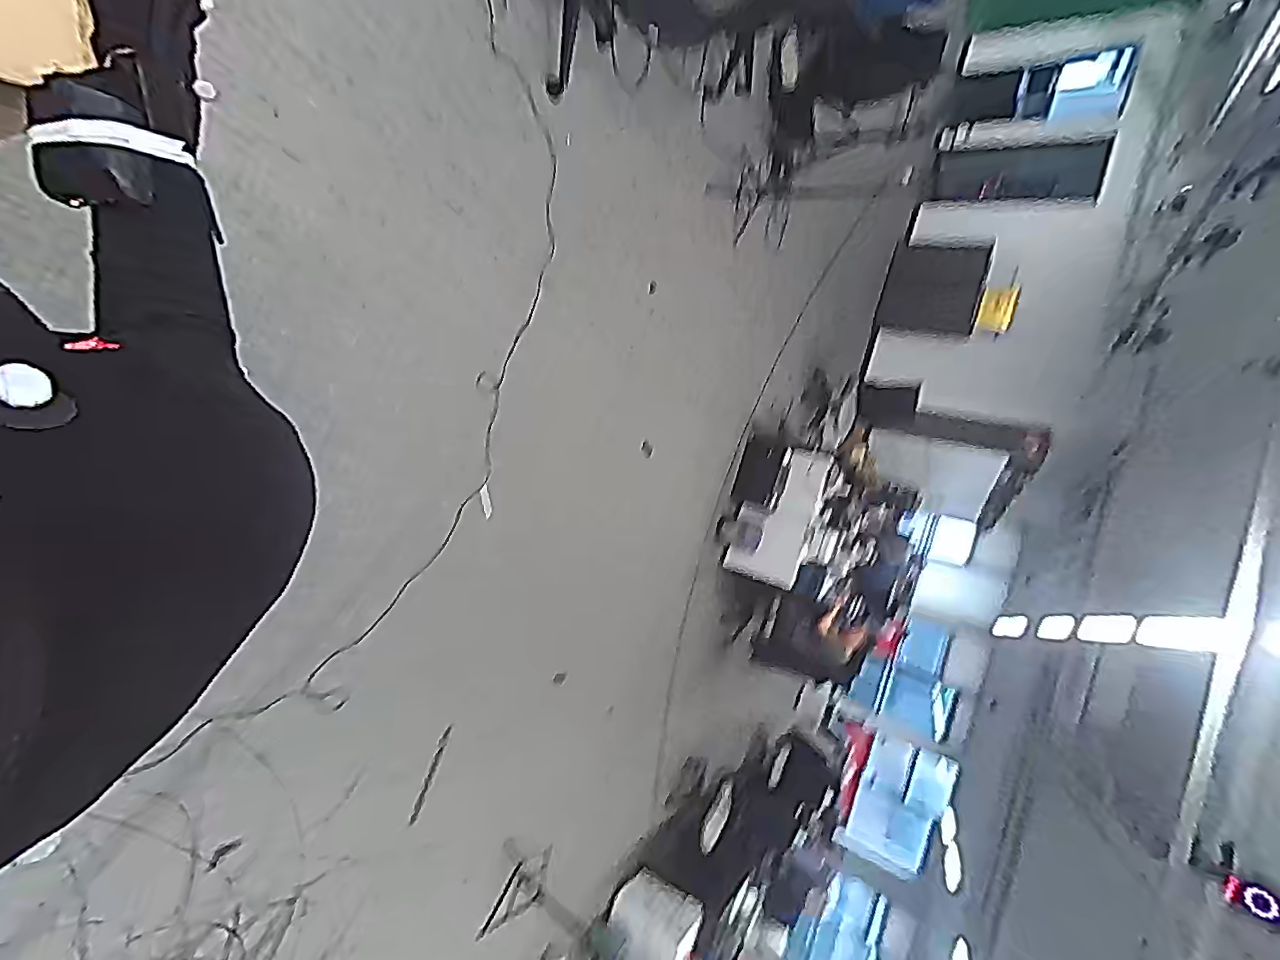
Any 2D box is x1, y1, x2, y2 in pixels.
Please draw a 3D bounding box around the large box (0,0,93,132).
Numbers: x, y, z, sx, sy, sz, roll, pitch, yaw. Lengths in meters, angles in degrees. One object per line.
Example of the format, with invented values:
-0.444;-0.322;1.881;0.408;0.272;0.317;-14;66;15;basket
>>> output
-0.586;-0.395;0.235;0.408;0.320;0.320;-18;119;-56;large box
